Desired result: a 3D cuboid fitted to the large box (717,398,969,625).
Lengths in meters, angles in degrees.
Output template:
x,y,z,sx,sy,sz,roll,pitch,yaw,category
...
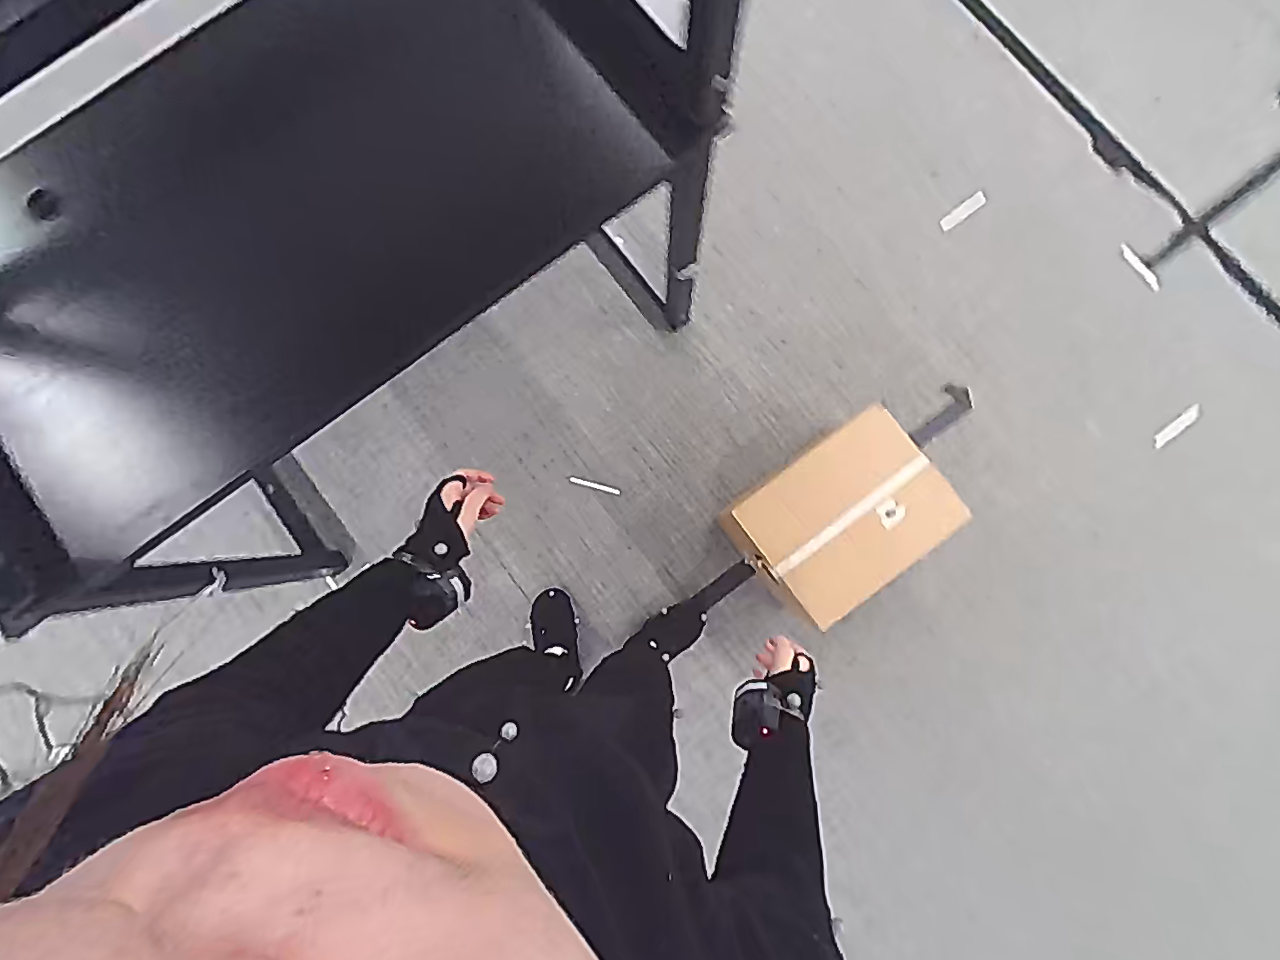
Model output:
x,y,z,sx,sy,sz,roll,pitch,yaw,category
0.443,0.079,1.277,0.408,0.320,0.320,-36,86,-3,large box
